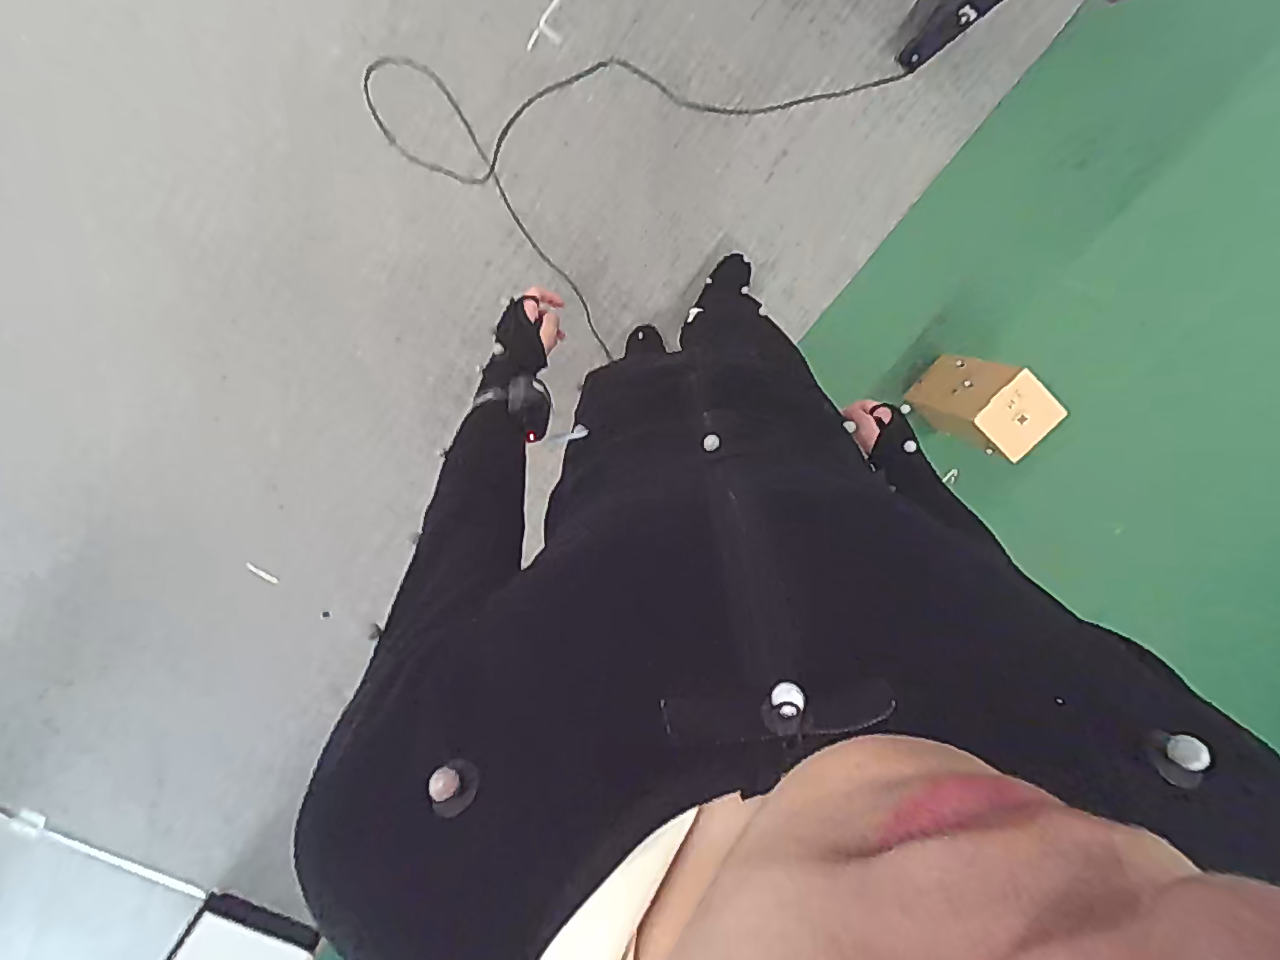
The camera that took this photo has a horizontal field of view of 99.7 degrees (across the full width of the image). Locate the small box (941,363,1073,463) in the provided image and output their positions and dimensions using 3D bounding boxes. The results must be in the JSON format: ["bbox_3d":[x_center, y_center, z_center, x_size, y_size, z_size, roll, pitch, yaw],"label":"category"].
[{"bbox_3d":[0.910,-0.176,1.356,0.179,0.176,0.168,38,103,-13],"label":"small box"}]
